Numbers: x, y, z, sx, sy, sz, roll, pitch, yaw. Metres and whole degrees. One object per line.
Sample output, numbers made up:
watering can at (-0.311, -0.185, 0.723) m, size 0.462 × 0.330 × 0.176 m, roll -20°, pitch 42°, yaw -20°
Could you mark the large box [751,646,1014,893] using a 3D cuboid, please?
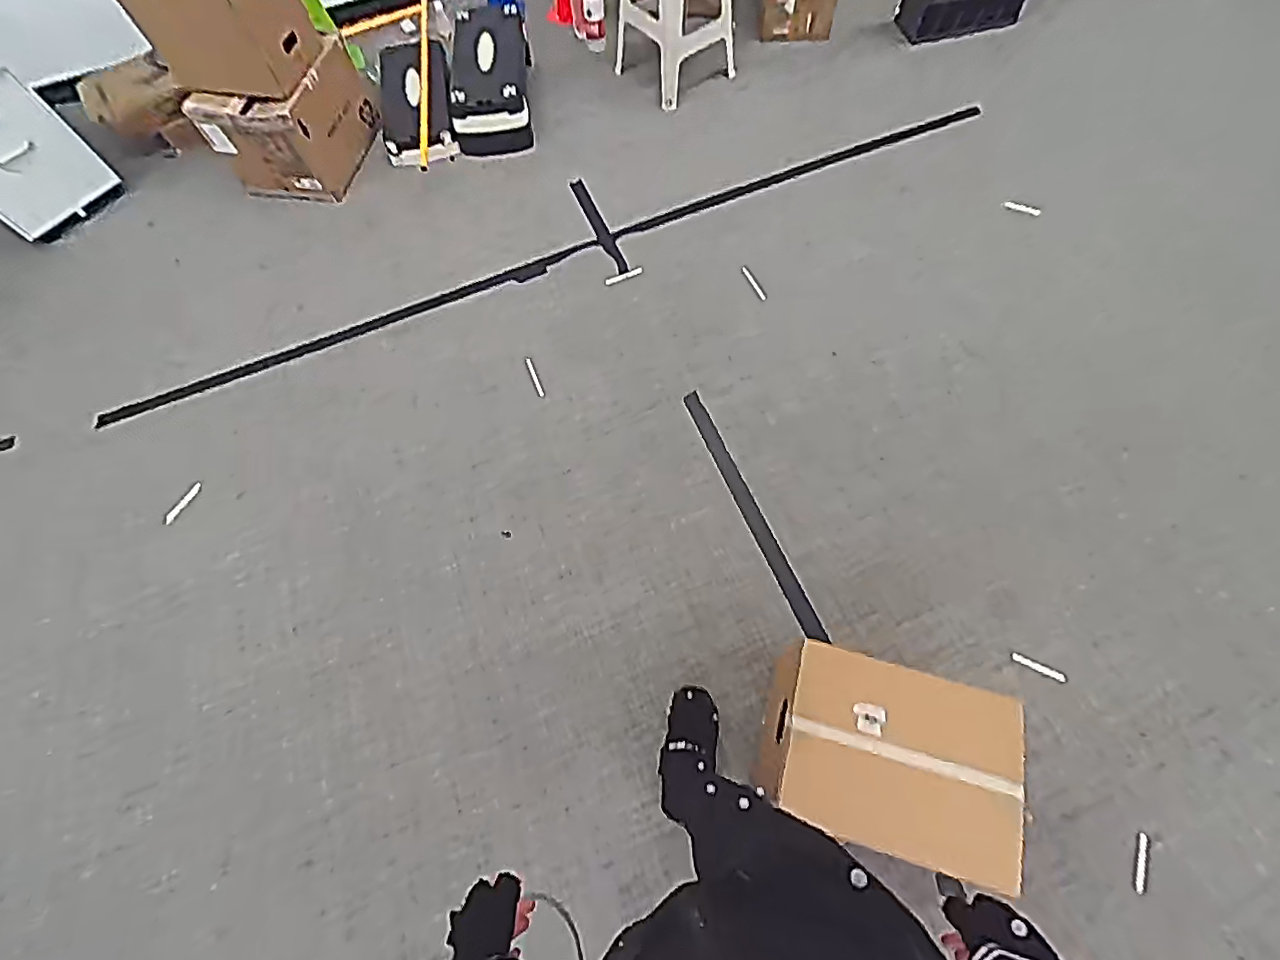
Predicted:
large box at (0.473, 0.565, 1.113) m, size 0.408 × 0.320 × 0.320 m, roll 14°, pitch 66°, yaw 10°
